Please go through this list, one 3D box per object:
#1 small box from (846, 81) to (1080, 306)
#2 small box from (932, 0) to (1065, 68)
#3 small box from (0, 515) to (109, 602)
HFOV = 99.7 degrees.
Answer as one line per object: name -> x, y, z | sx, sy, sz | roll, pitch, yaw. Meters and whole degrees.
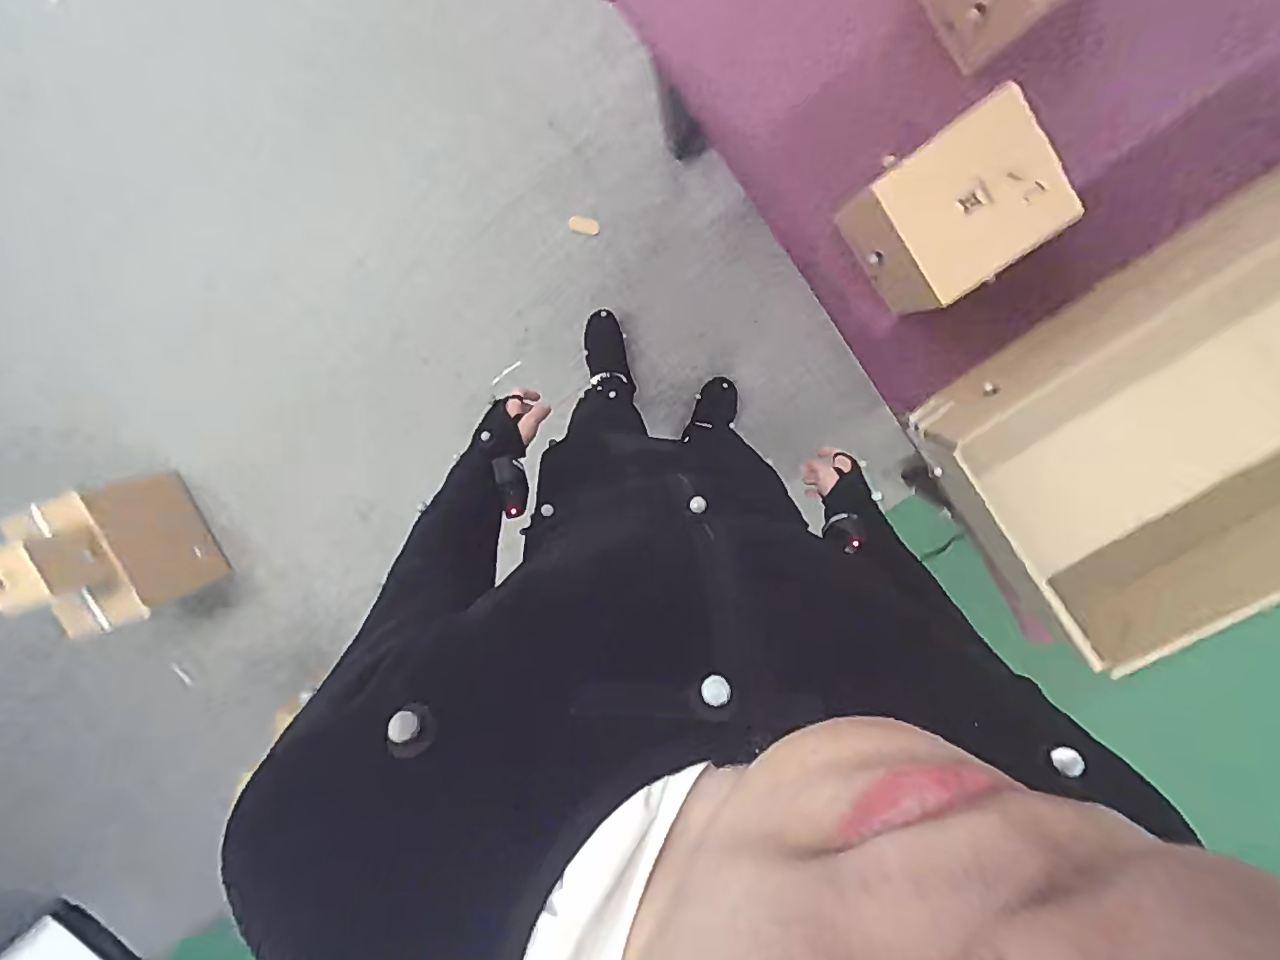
small box -> 0.385, -0.339, 0.687 | 0.179, 0.176, 0.168 | -34, 100, 13
small box -> 0.444, -0.624, 0.607 | 0.179, 0.176, 0.168 | -35, 100, 13
small box -> -1.640, 0.211, 1.483 | 0.179, 0.176, 0.168 | -14, 103, 8
